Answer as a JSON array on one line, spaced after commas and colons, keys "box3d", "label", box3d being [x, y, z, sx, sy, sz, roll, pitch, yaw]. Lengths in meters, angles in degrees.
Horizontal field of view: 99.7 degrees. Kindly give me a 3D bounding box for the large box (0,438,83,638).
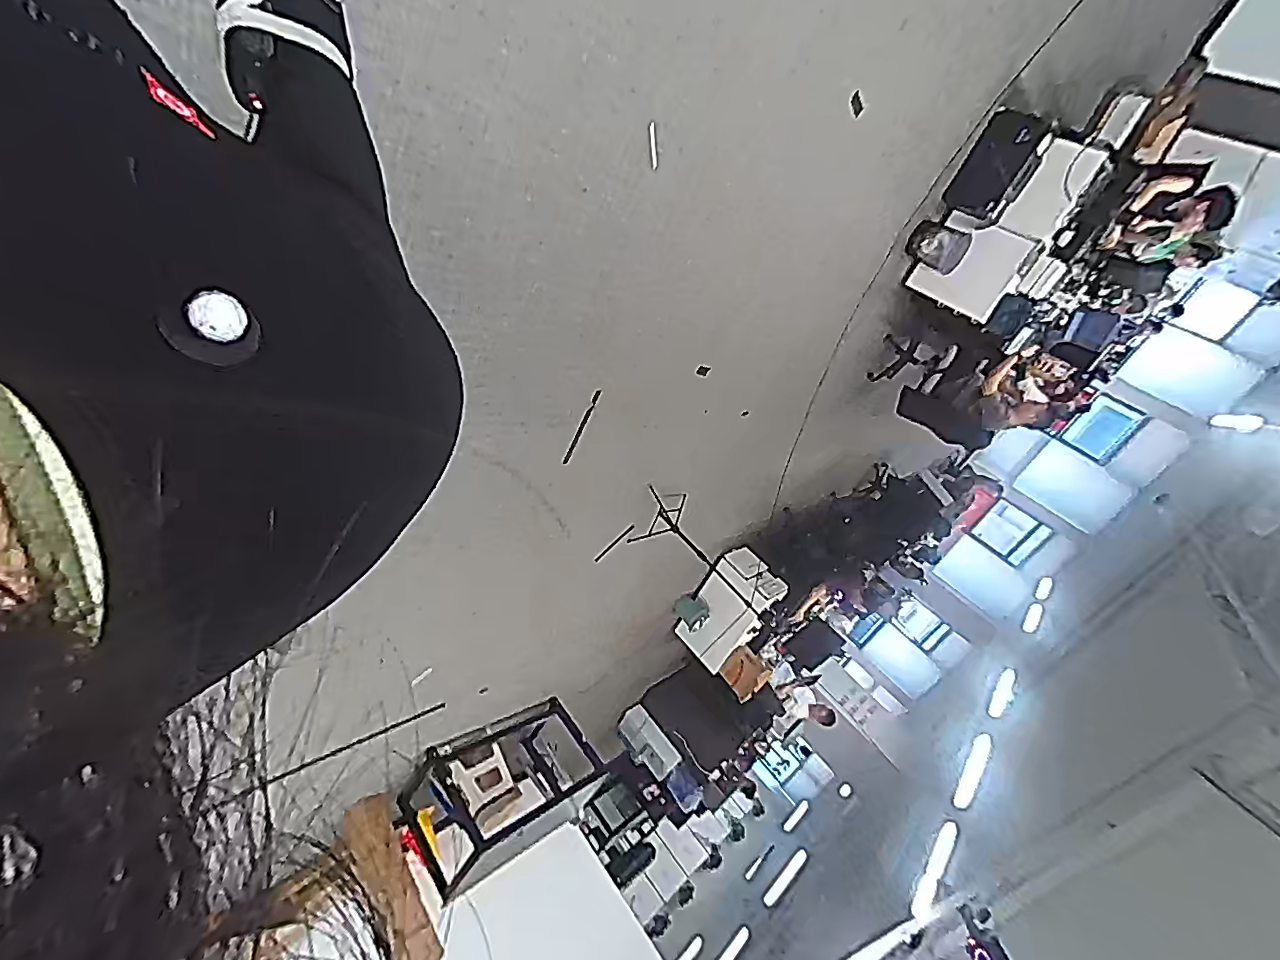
[{"box3d": [-1.415, 0.118, 1.059, 0.408, 0.320, 0.320, 1, 127, -54], "label": "large box"}]
